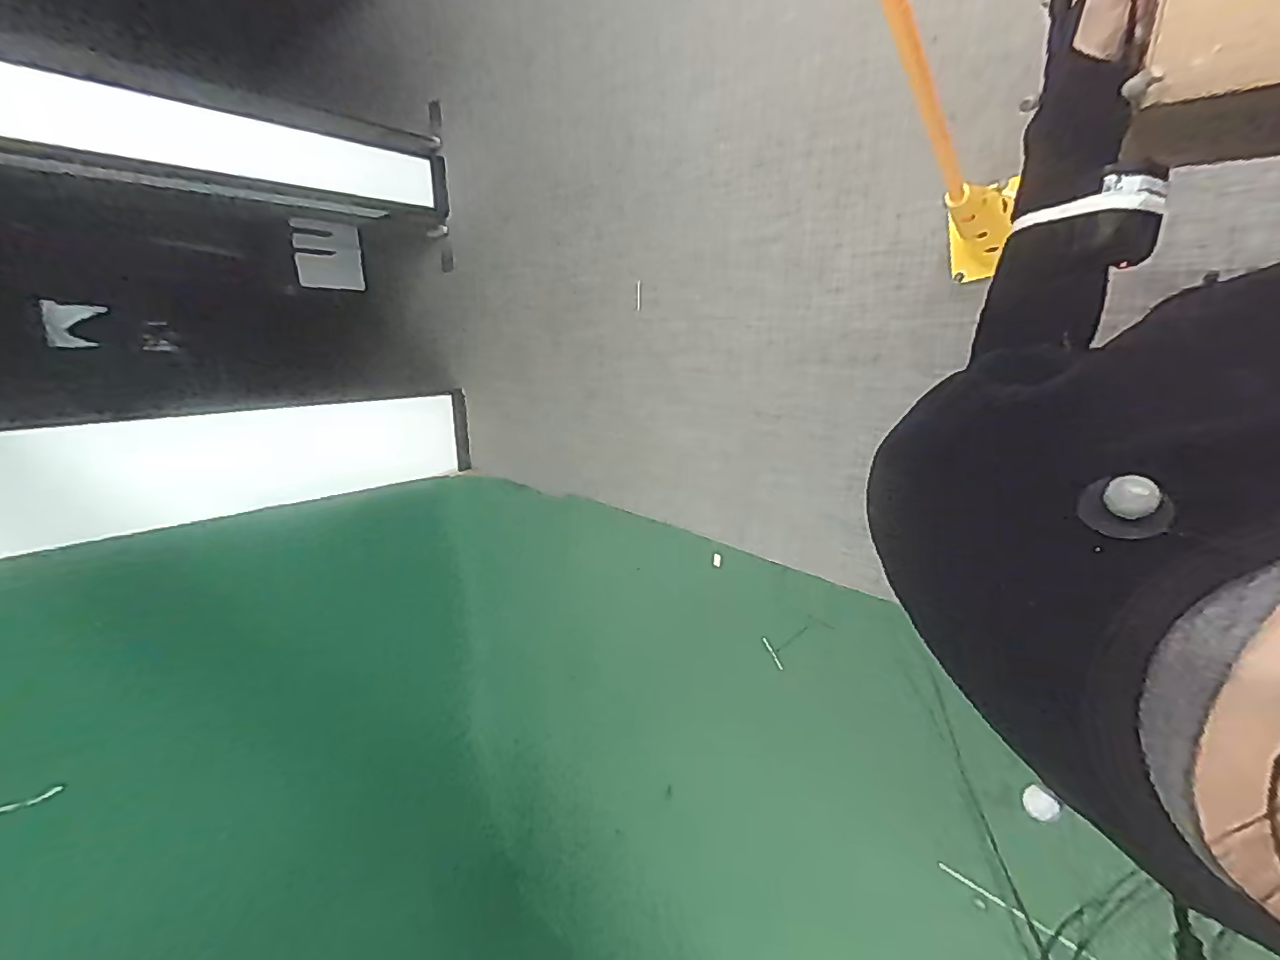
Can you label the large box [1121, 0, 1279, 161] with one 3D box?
[{"bbox_3d":[0.579,-0.412,0.312,0.408,0.320,0.320,12,113,36],"label":"large box"}]
